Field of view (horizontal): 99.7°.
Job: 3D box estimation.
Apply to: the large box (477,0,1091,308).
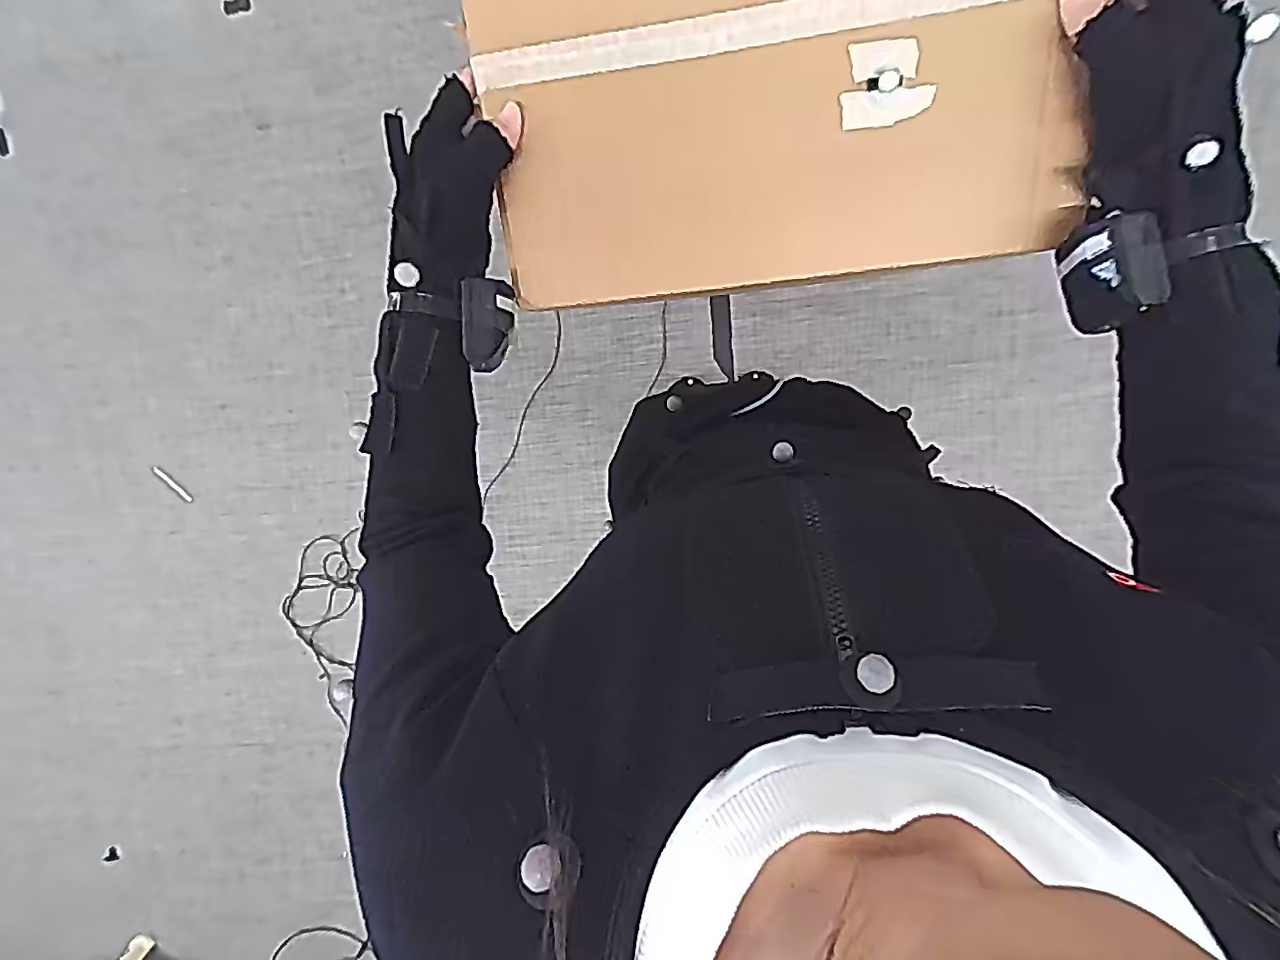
[{"bbox_3d":[0.099,-0.346,0.504,0.408,0.320,0.320,-5,108,6],"label":"large box"}]
